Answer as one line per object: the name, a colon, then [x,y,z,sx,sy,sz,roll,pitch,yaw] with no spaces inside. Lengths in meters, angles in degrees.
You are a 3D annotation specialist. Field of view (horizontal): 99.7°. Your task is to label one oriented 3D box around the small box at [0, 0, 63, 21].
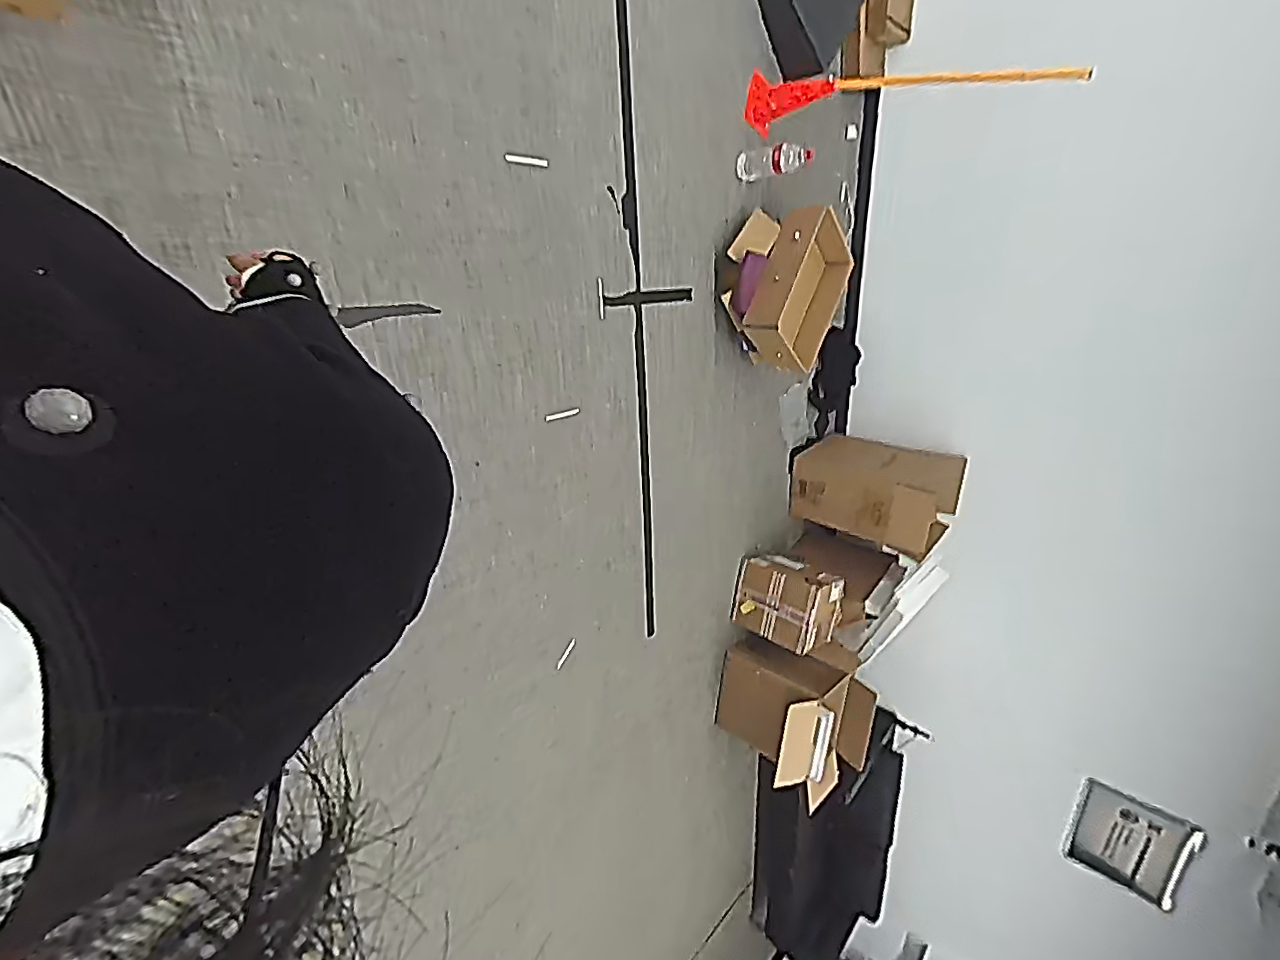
small box: [-1.011,-0.839,0.807,0.168,0.176,0.179,-23,119,-41]
